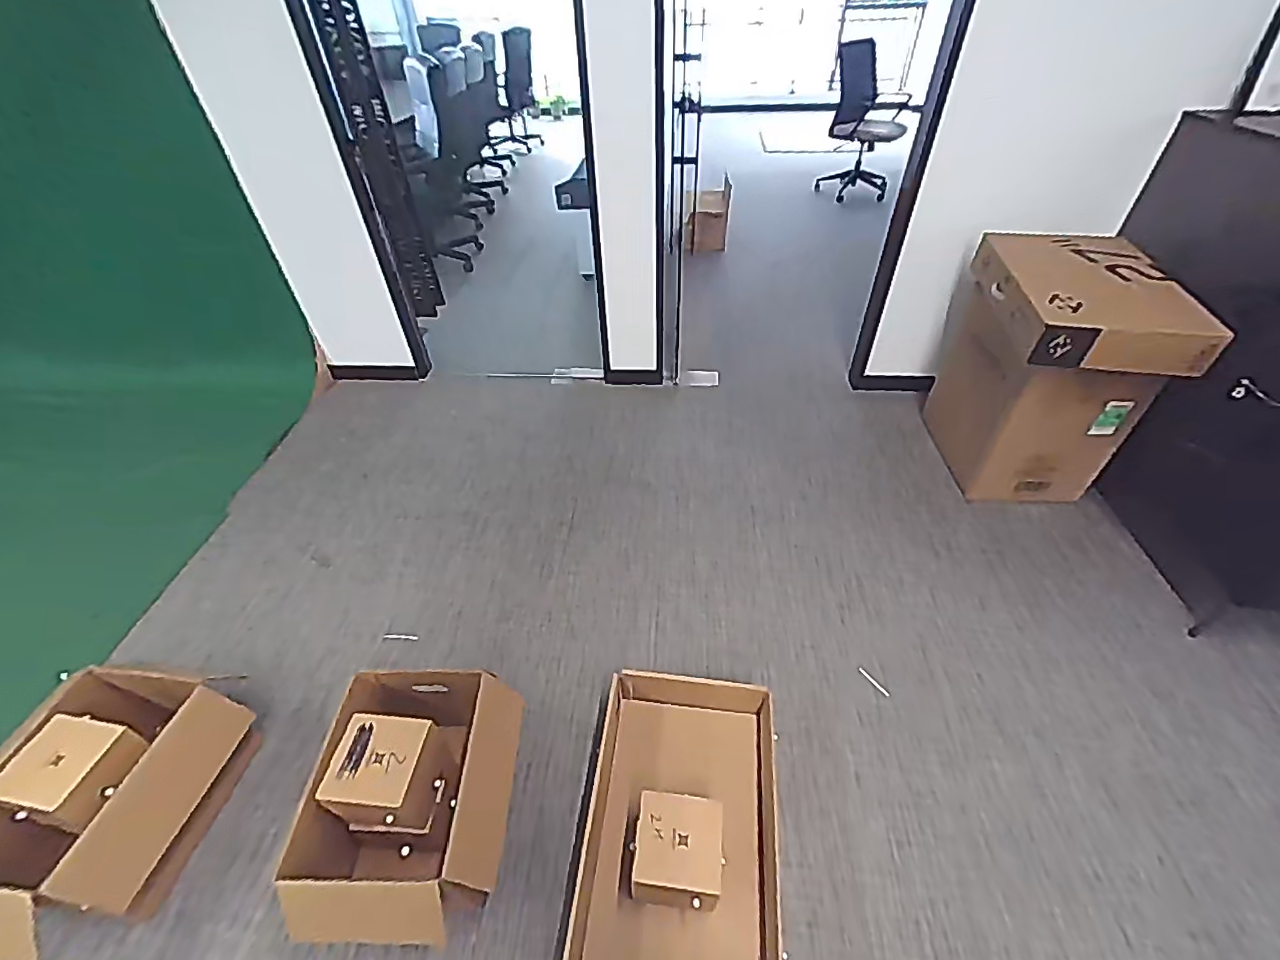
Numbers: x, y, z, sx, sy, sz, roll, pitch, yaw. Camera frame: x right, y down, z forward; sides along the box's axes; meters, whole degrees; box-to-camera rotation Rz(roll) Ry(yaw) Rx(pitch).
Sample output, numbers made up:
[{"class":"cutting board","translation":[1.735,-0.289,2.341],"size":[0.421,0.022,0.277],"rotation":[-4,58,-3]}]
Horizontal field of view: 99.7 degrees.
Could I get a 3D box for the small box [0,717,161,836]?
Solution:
[{"class":"small box","translation":[-1.191,0.631,1.147],"size":[0.179,0.176,0.168],"rotation":[6,43,7]}]
